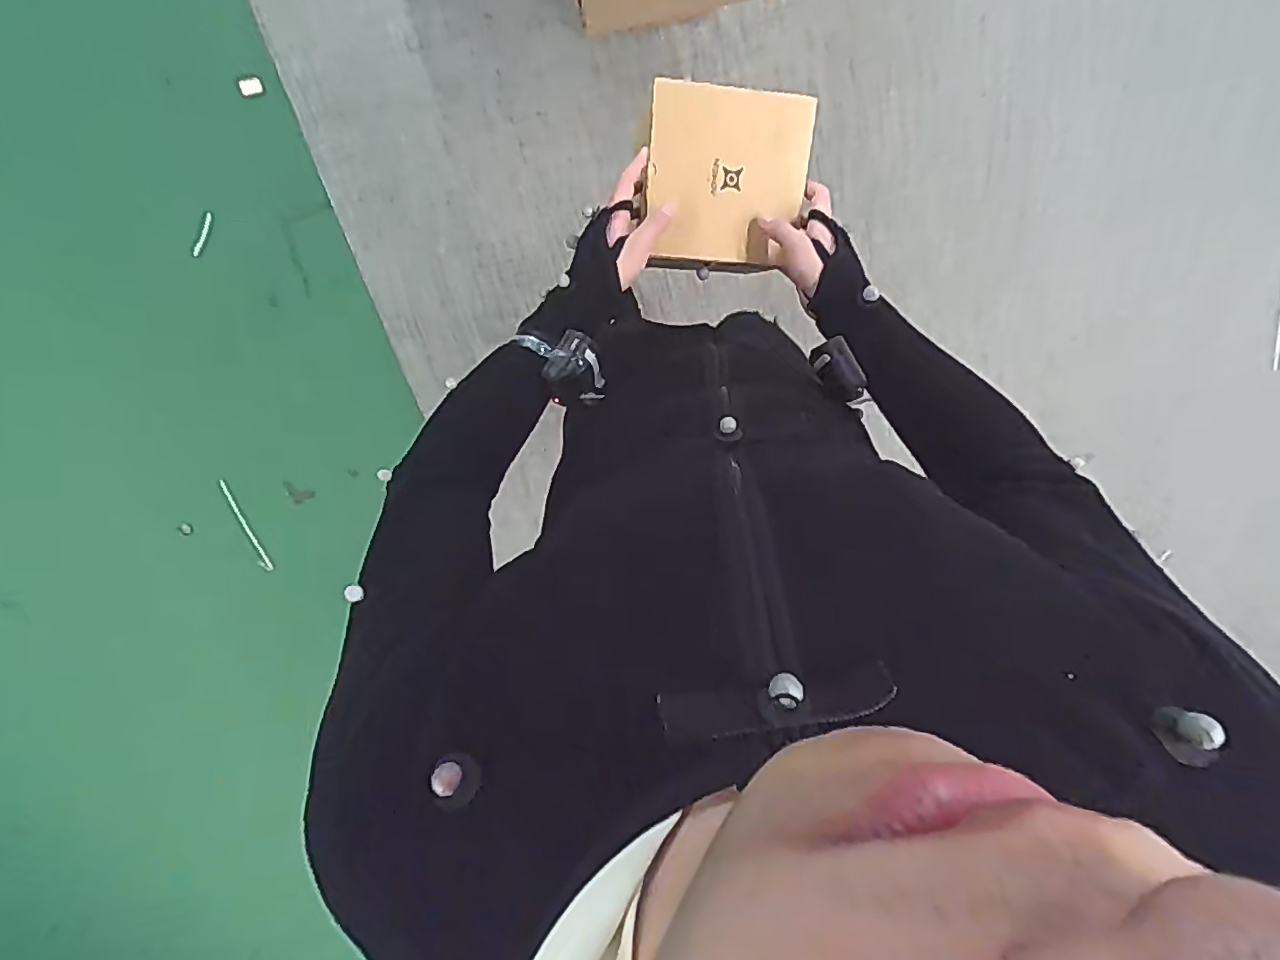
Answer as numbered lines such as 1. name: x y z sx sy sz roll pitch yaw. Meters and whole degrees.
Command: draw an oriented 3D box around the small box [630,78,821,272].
1. small box: 0.086 -0.341 0.641 0.179 0.176 0.168 2 108 -6
